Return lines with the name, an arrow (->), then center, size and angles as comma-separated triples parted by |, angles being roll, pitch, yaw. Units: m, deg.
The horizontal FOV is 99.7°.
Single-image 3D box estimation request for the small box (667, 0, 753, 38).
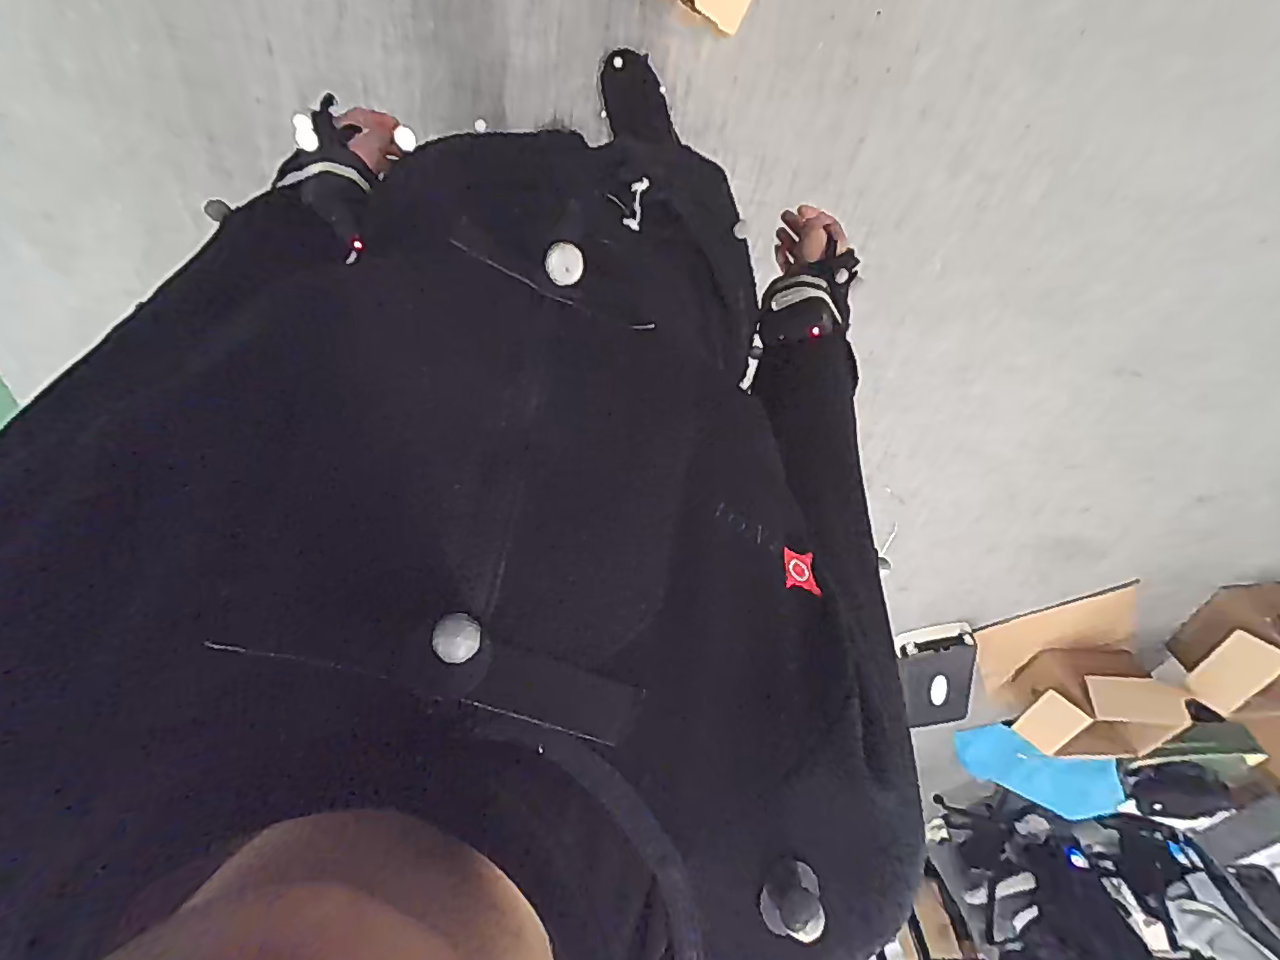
small box -> 0.114, -0.831, 0.835 | 0.168, 0.176, 0.179 | 21, 126, -19
